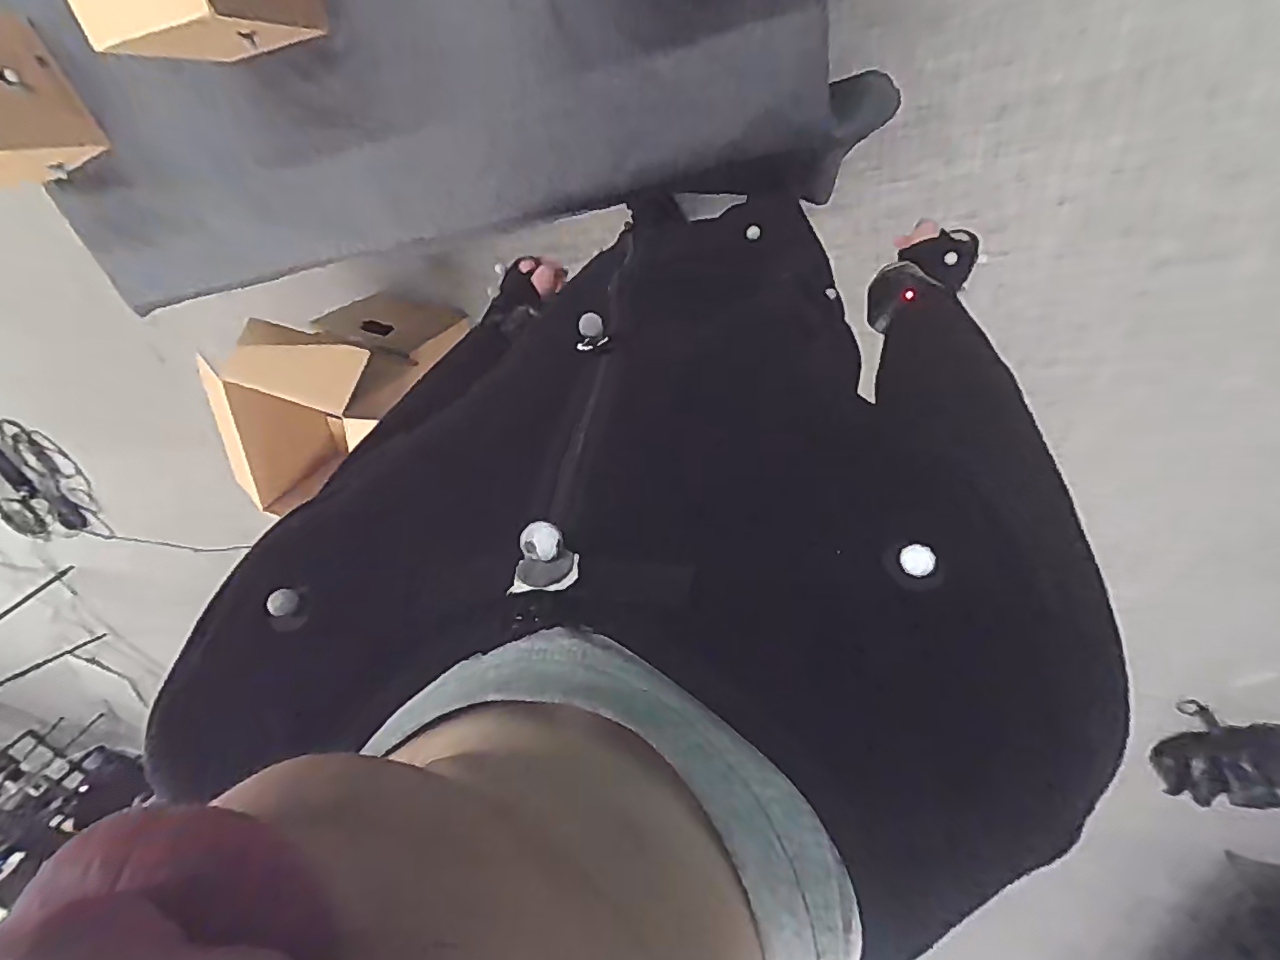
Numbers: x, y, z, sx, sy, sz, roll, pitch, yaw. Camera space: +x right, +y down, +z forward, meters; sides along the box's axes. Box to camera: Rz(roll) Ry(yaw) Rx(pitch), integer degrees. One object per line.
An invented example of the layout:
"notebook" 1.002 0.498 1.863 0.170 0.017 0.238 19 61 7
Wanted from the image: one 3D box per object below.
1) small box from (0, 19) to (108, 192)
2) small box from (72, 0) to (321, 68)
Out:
"small box" -0.904 -0.509 0.741 0.179 0.176 0.168 -7 120 21
"small box" -0.478 -0.556 0.570 0.179 0.176 0.168 1 122 19
